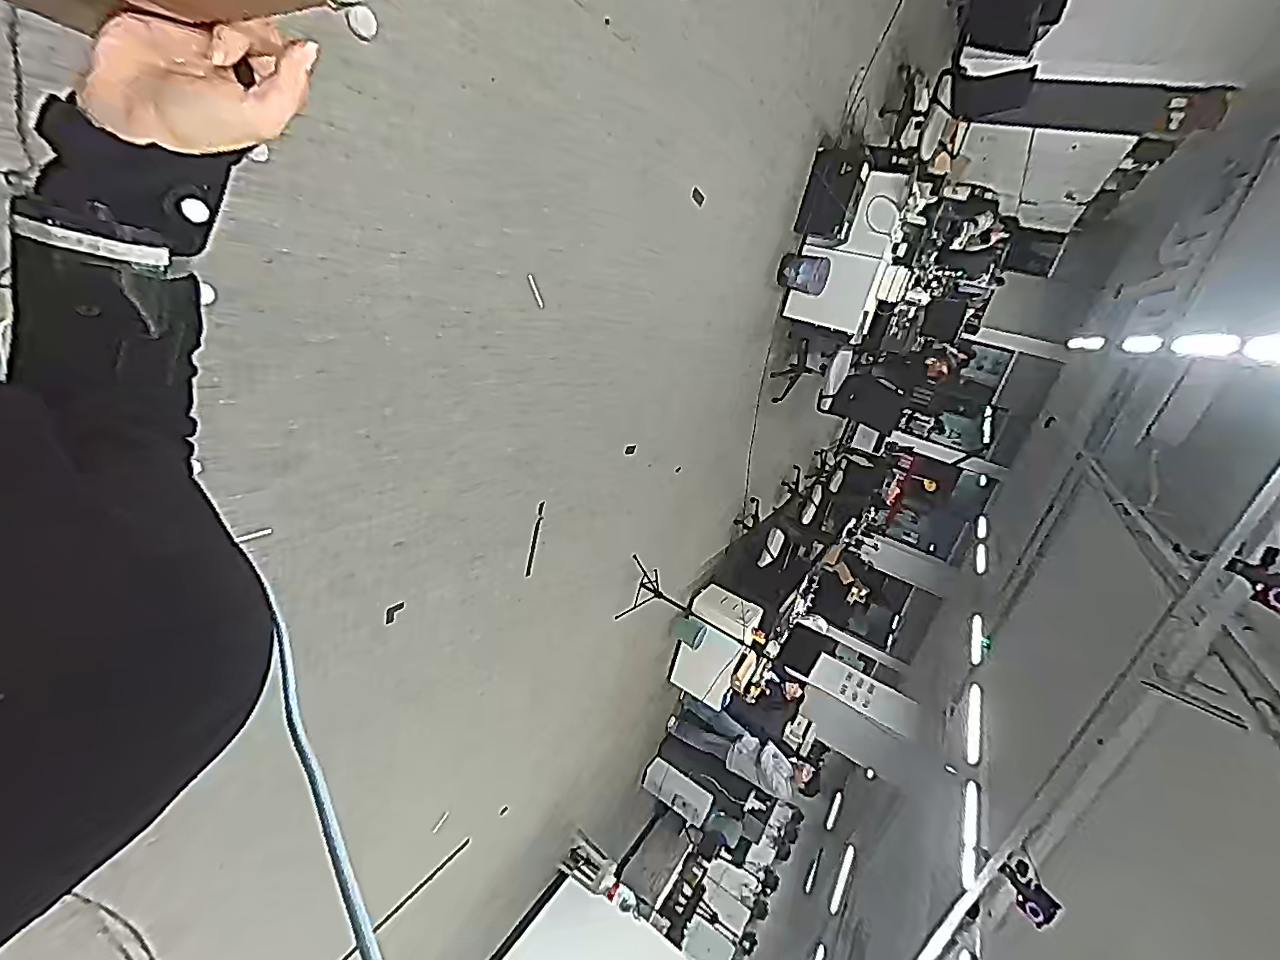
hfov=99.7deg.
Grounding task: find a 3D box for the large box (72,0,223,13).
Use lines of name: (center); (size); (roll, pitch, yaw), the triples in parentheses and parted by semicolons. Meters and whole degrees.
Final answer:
large box: (-0.307, -0.373, 0.080); (0.408, 0.320, 0.320); (-16, 124, -57)
